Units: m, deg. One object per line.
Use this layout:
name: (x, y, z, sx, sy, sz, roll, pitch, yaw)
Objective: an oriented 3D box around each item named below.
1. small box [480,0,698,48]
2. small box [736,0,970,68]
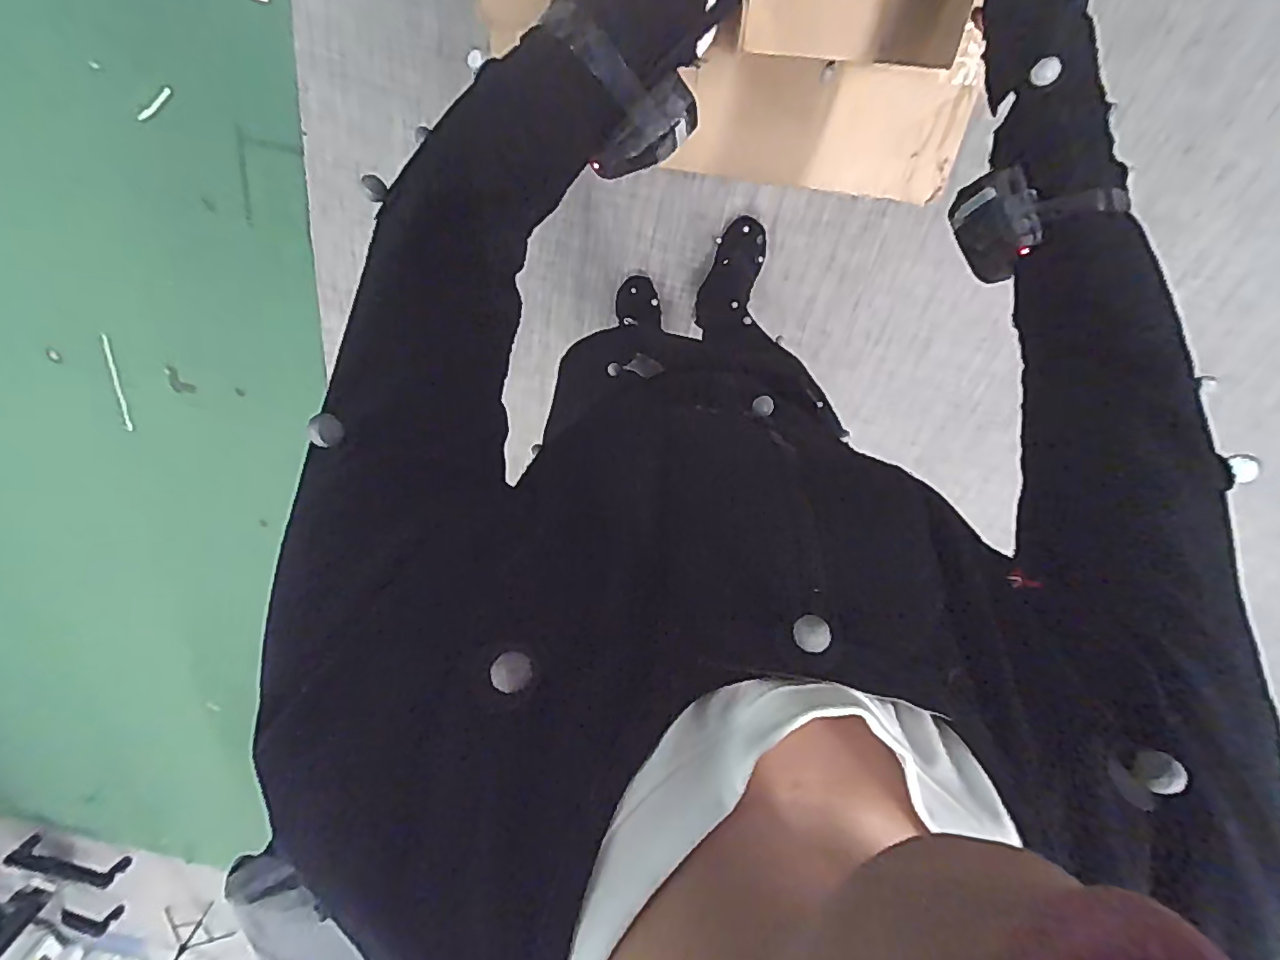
small box: (-0.032, -0.491, 0.470, 0.179, 0.176, 0.168, 8, 127, 2)
small box: (0.182, -0.462, 0.462, 0.179, 0.176, 0.168, 6, 128, 2)
